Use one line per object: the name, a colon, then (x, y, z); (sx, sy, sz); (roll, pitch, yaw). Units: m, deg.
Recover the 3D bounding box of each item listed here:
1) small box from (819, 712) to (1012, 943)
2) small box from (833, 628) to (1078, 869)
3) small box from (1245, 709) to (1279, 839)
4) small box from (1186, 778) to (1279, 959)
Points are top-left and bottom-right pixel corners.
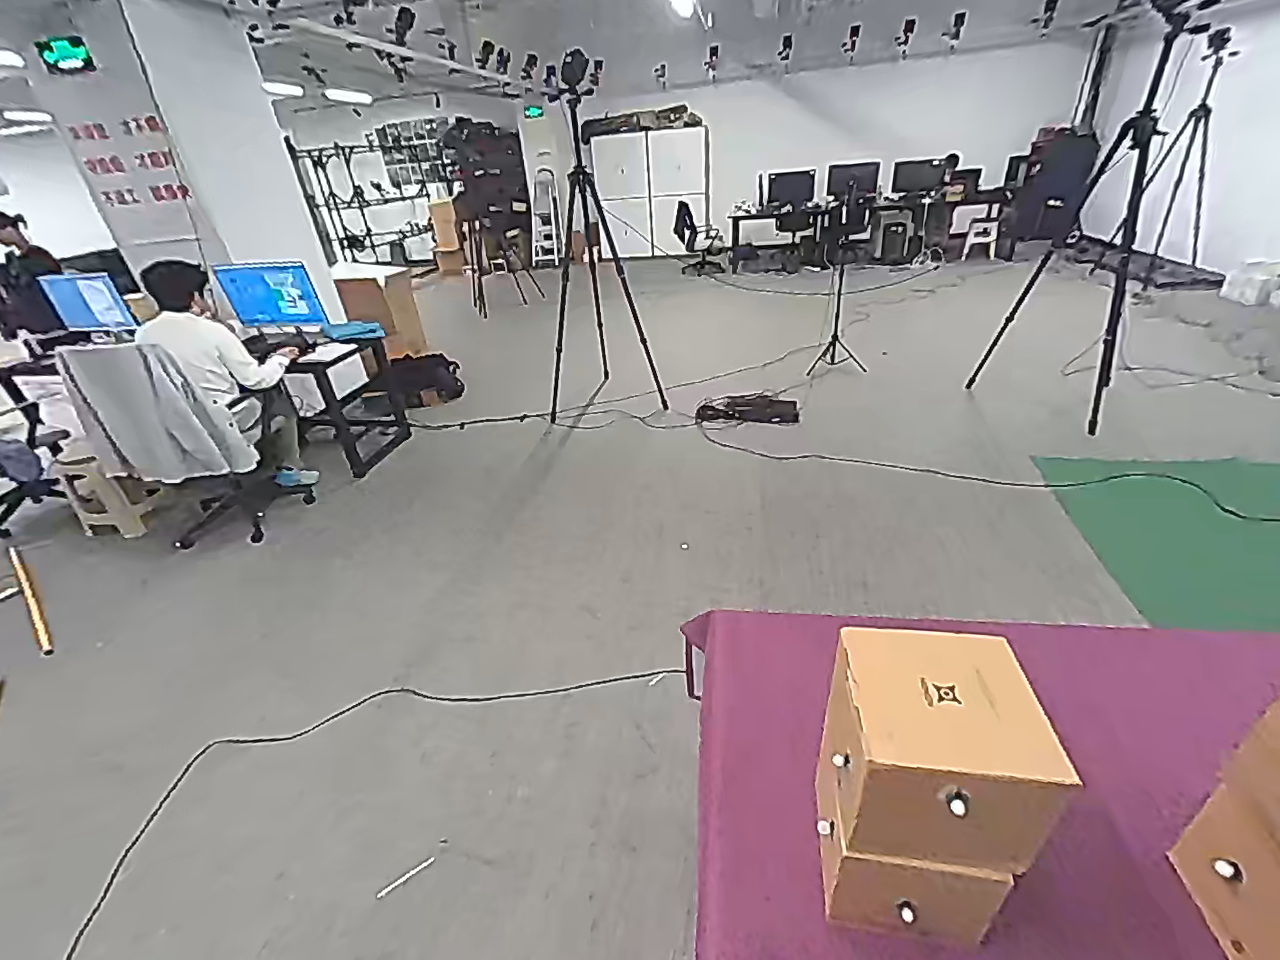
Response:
small box: (0.317, 0.421, 0.664); (0.168, 0.176, 0.179); (2, 32, 12)
small box: (0.308, 0.282, 0.579); (0.179, 0.176, 0.168); (1, 33, 11)
small box: (0.710, 0.304, 0.477); (0.179, 0.176, 0.168); (3, 32, 14)
small box: (0.731, 0.444, 0.560); (0.179, 0.176, 0.168); (1, 31, 11)
